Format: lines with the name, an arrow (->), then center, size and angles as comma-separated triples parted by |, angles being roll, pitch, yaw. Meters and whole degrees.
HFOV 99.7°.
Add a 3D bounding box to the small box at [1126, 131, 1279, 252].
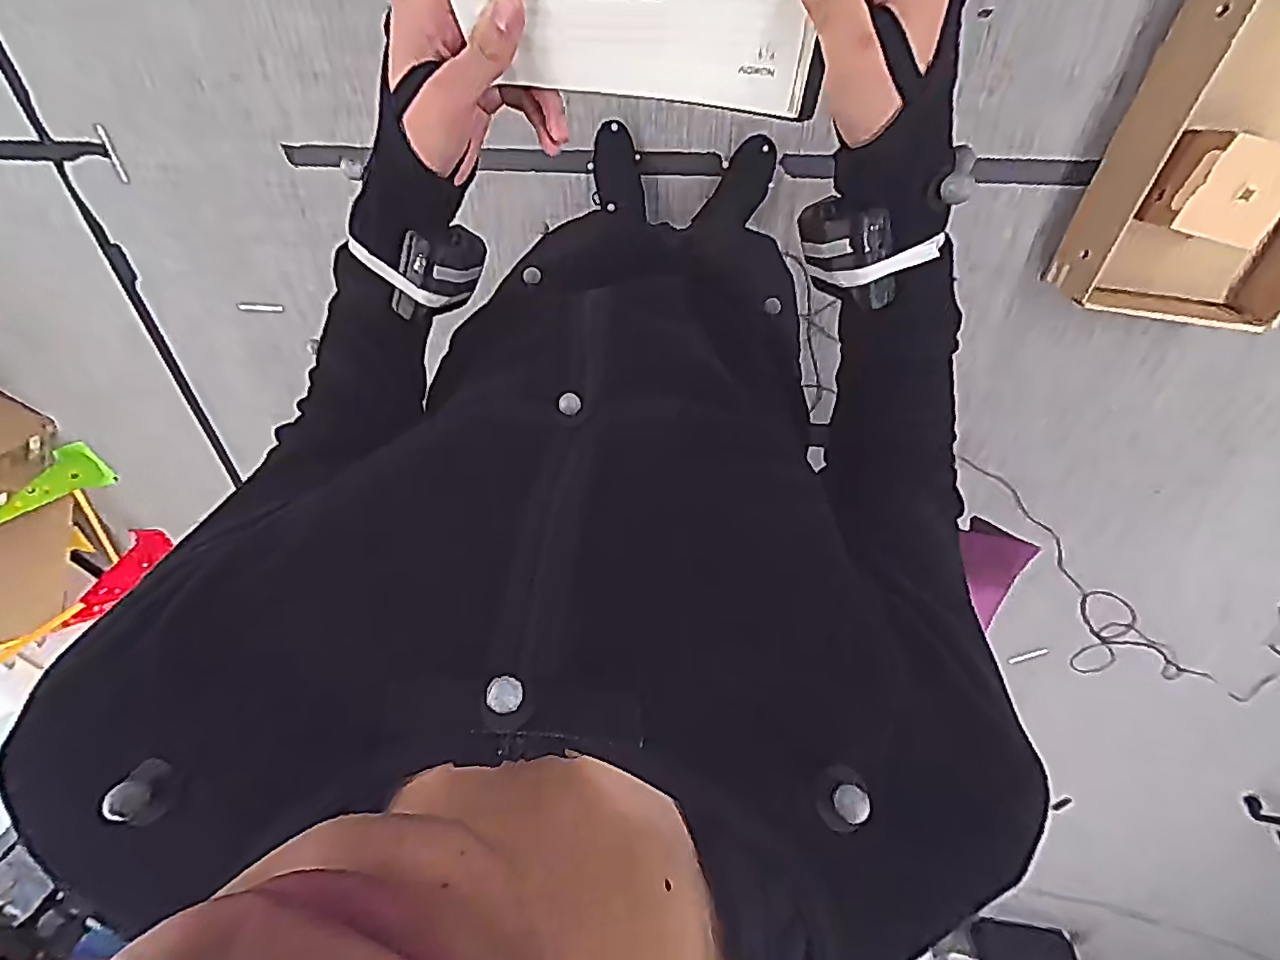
small box -> 1.142, -0.577, 1.076 | 0.179, 0.176, 0.168 | 16, 126, -1
